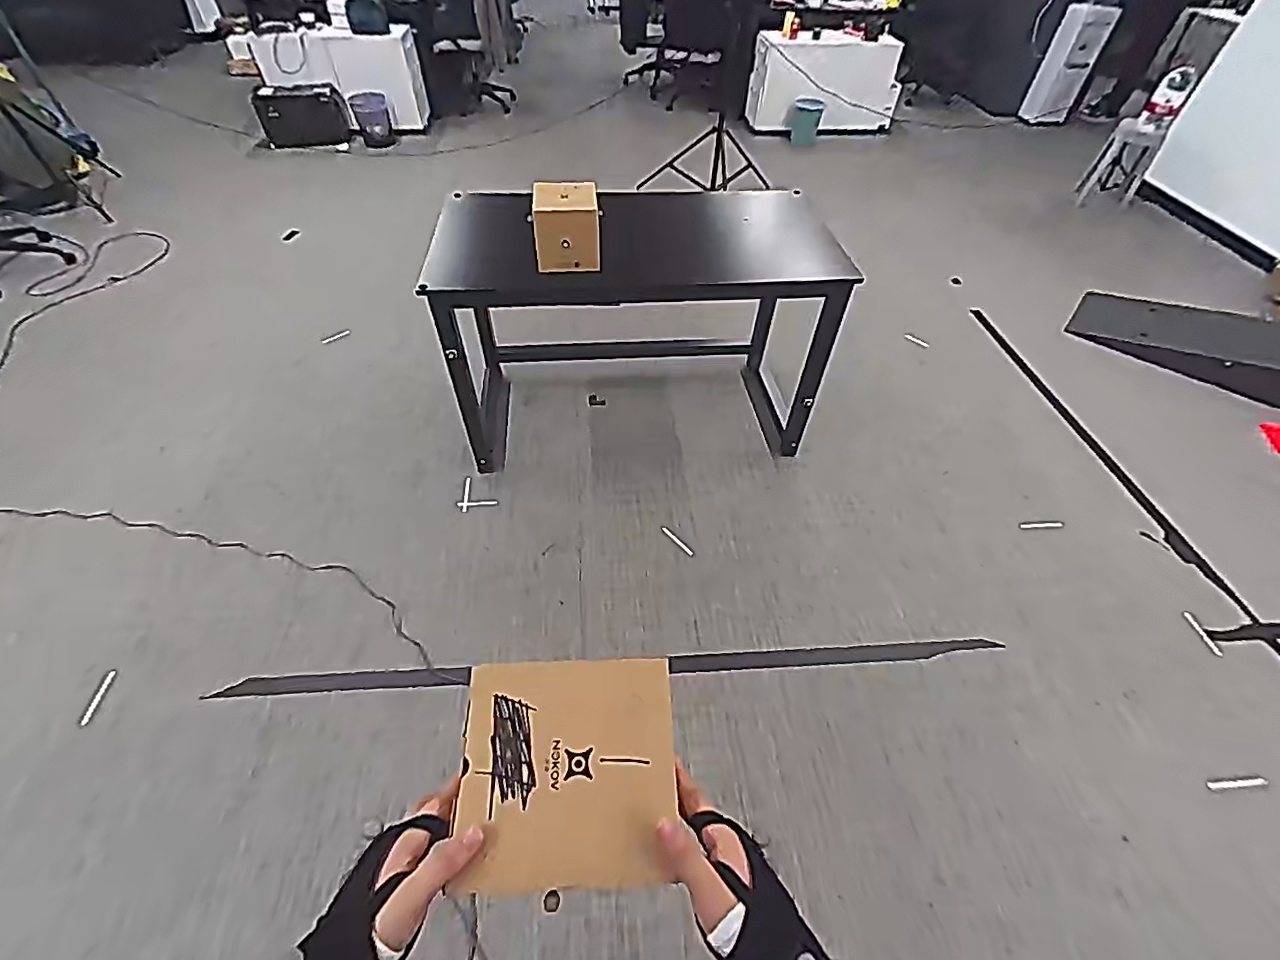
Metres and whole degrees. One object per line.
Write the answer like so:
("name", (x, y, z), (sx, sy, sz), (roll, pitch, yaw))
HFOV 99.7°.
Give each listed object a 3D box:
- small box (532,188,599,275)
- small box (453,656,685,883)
("small box", (-0.201, -0.677, 1.482), (0.168, 0.176, 0.179), (-3, 49, -5))
("small box", (-0.057, 0.276, 0.510), (0.179, 0.176, 0.168), (0, 54, -3))
